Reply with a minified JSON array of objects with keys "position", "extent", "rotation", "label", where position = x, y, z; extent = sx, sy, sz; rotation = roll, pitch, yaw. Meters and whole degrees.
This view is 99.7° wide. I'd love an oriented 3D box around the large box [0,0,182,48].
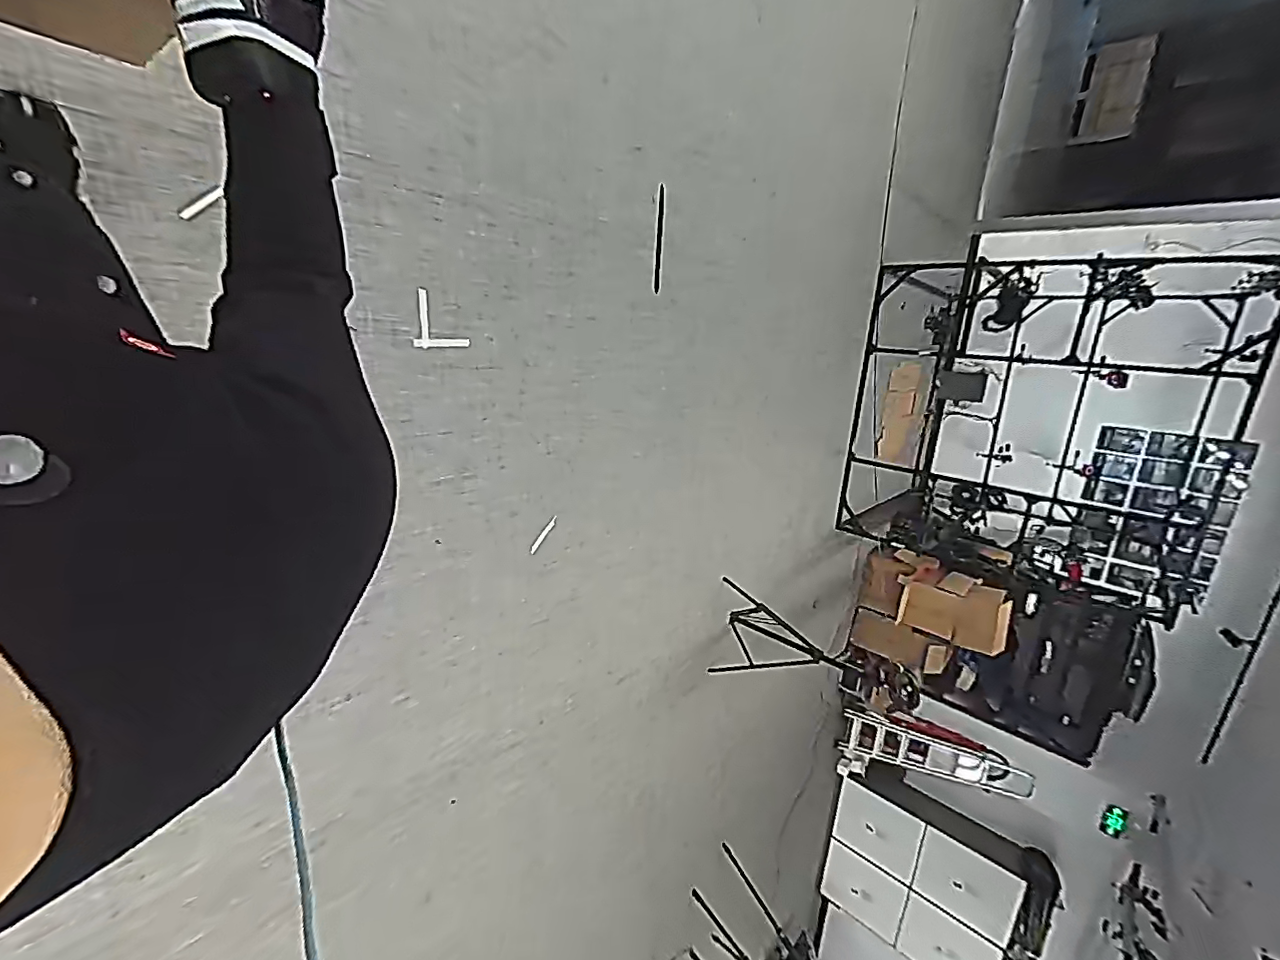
[{"position":[-0.511,-0.505,0.269],"extent":[0.408,0.320,0.320],"rotation":[-12,117,-49],"label":"large box"}]
